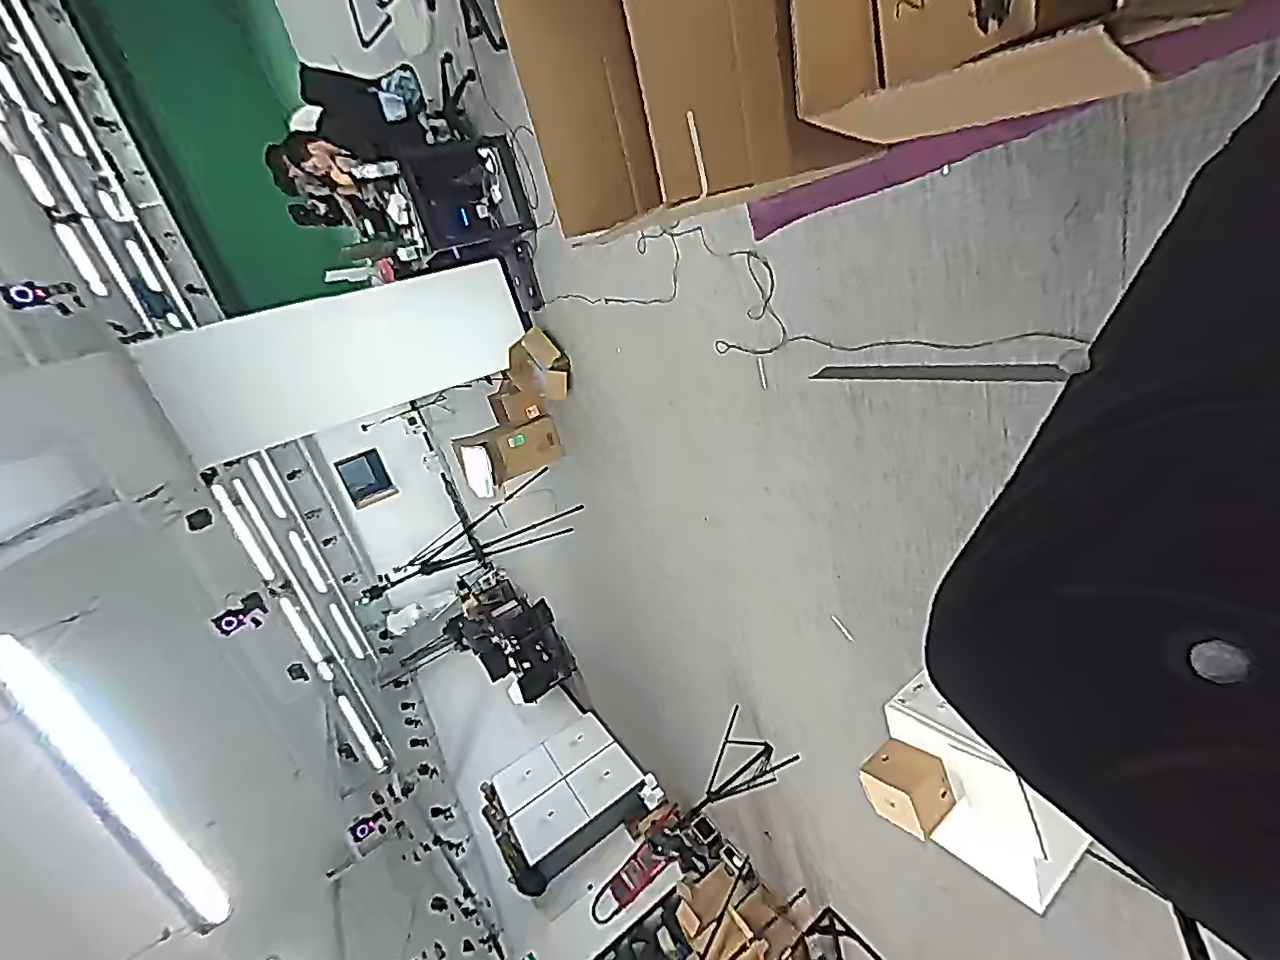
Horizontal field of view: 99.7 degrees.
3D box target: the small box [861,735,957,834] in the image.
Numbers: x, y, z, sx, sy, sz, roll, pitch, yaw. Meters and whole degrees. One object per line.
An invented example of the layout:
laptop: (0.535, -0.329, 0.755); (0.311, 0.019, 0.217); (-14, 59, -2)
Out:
small box: (0.813, 0.907, 1.635); (0.179, 0.176, 0.168); (-5, 110, 63)
